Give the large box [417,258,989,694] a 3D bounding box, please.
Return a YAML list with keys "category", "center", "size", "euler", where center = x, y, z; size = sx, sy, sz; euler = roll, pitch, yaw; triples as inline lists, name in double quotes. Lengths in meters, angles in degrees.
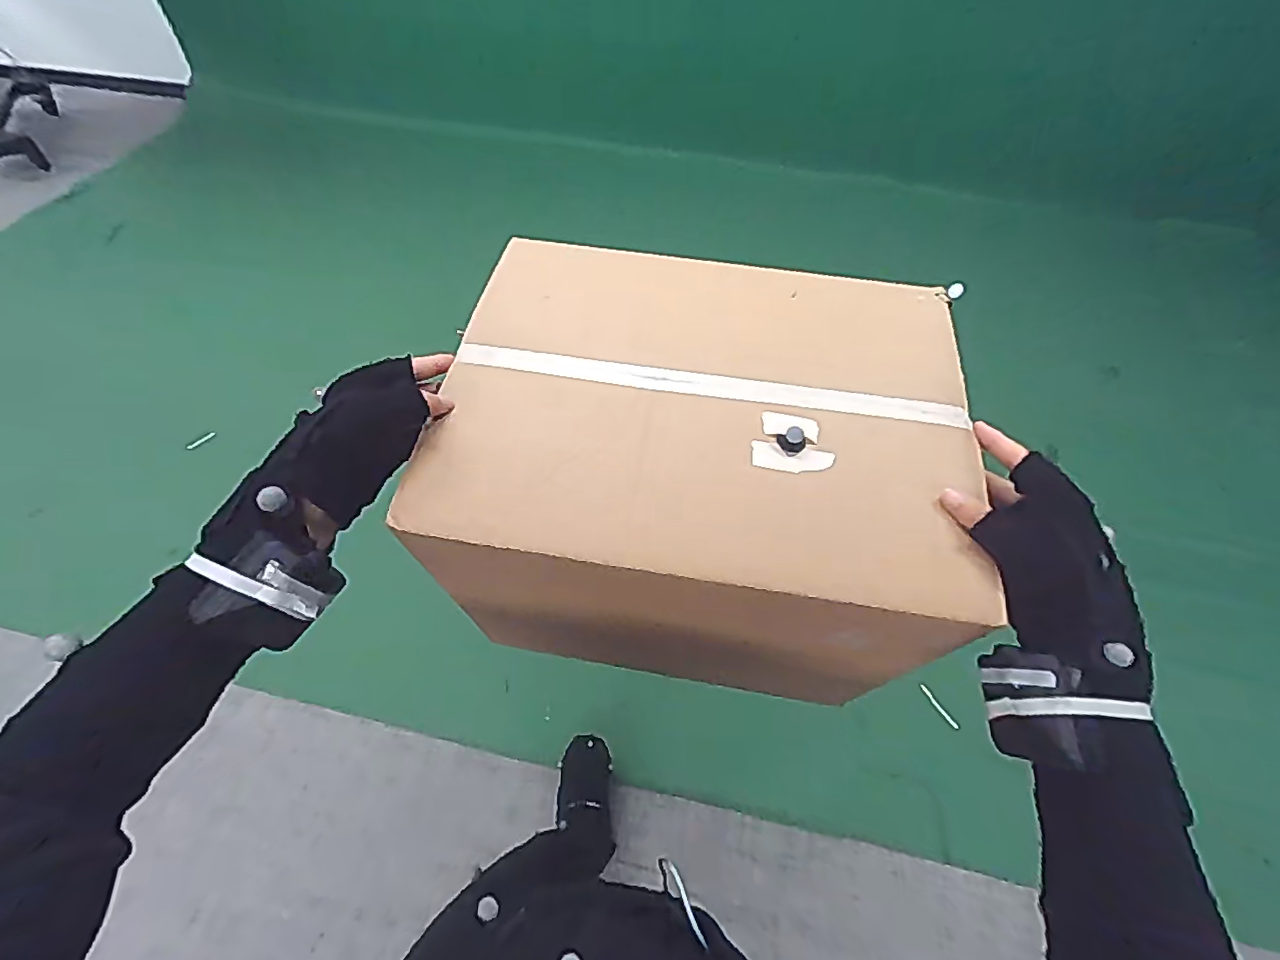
- category: "large box"
  center: [0.053, 0.012, 0.571]
  size: [0.408, 0.320, 0.320]
  euler: [9, 59, 3]
